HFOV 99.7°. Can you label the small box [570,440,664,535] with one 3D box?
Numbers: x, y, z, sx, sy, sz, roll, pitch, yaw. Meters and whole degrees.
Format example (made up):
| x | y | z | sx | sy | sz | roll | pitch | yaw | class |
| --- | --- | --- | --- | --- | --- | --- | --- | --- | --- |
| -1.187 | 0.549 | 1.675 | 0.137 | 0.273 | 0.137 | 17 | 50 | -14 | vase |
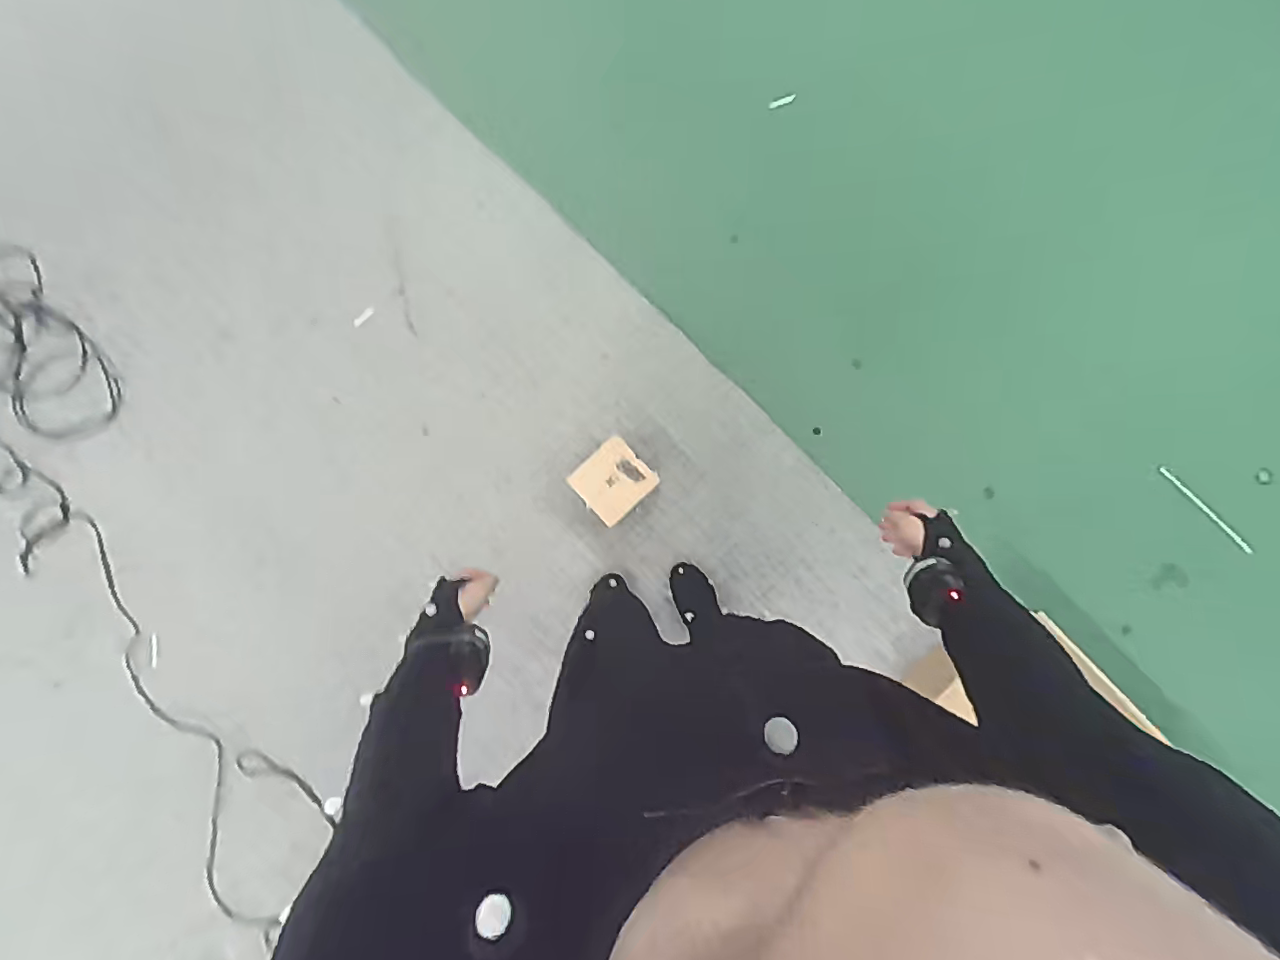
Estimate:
| x | y | z | sx | sy | sz | roll | pitch | yaw | class |
| --- | --- | --- | --- | --- | --- | --- | --- | --- | --- |
| -0.055 | 0.022 | 1.396 | 0.179 | 0.176 | 0.168 | -43 | 85 | -1 | small box |
